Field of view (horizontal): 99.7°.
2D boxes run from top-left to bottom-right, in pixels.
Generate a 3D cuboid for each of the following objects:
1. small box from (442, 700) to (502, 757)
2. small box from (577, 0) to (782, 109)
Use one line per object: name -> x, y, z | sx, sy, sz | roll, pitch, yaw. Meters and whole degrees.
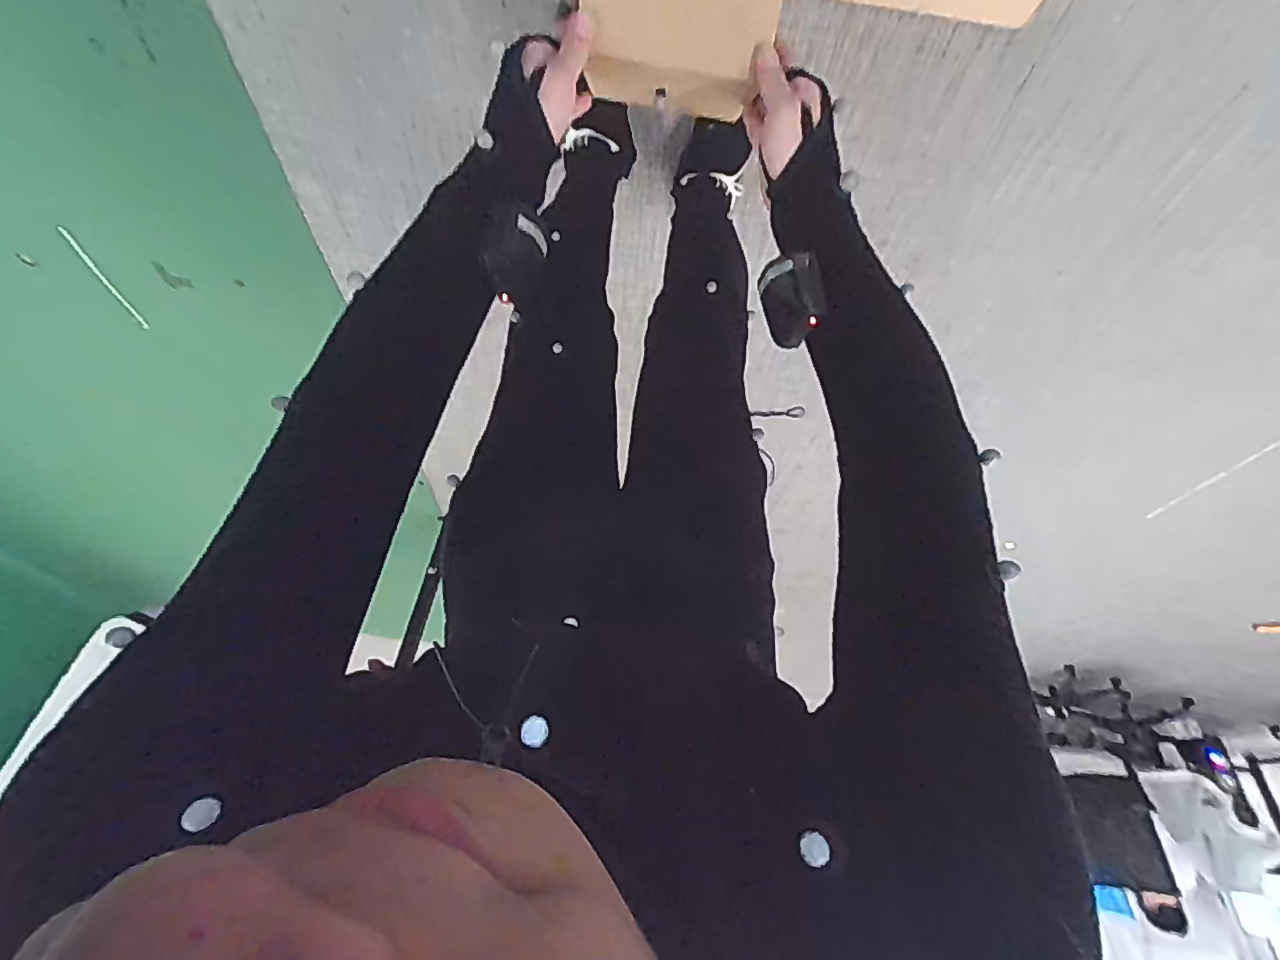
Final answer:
small box -> -0.633, 0.948, 2.060 | 0.168, 0.176, 0.179 | 7, 148, -2
small box -> 0.042, -0.463, 0.490 | 0.168, 0.176, 0.179 | 8, 114, -4
